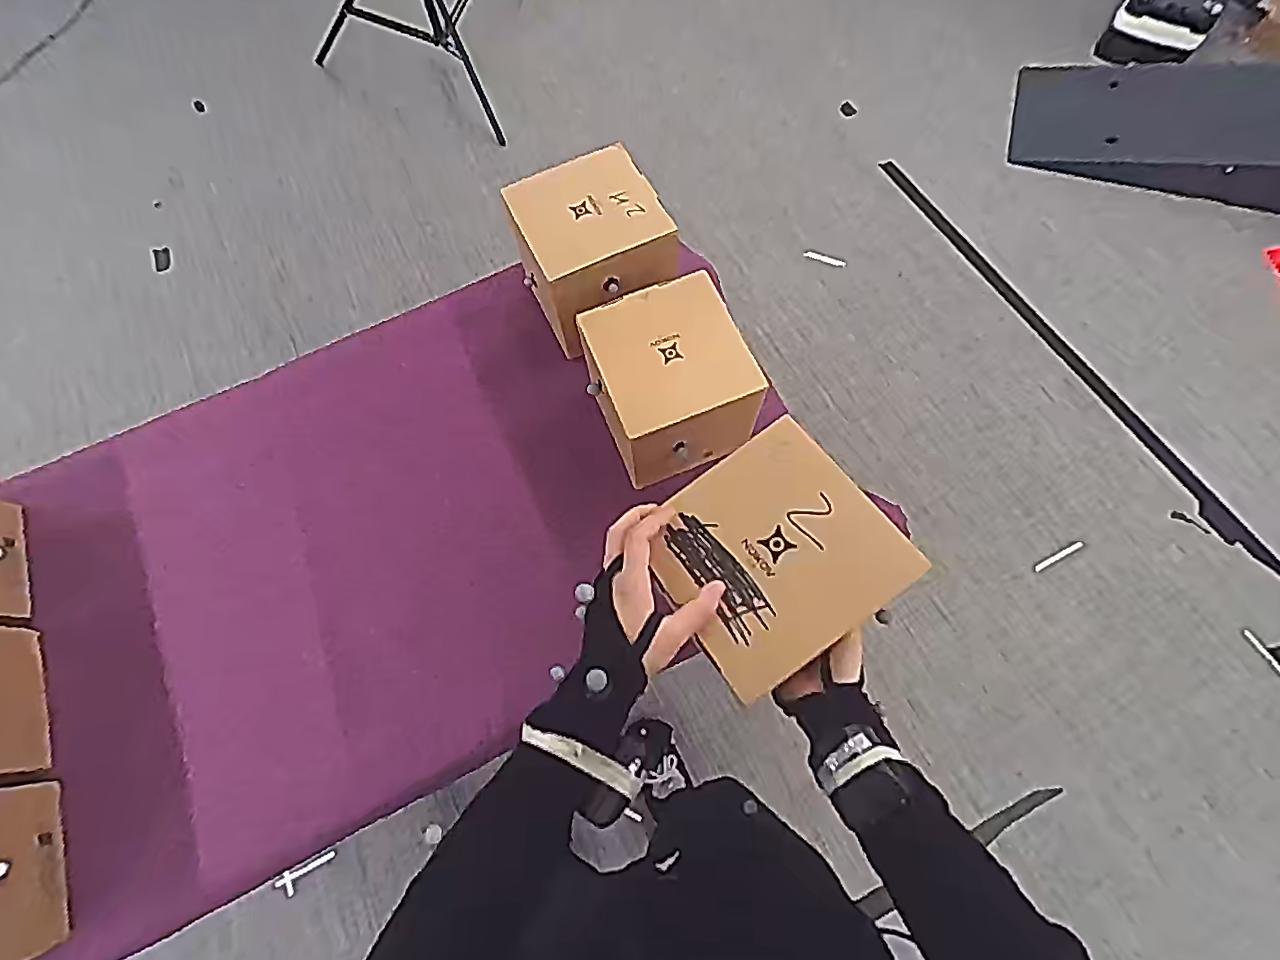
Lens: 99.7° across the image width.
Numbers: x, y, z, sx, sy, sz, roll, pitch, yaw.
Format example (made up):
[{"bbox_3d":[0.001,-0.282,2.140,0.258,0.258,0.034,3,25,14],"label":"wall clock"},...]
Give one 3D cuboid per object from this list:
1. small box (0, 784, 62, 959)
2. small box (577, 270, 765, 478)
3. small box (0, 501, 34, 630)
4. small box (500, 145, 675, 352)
[{"bbox_3d":[-0.705,0.415,0.506,0.179,0.176,0.168,-25,70,-8],"label":"small box"},{"bbox_3d":[0.036,-0.118,0.679,0.168,0.176,0.179,-21,70,-5],"label":"small box"},{"bbox_3d":[-0.877,0.111,0.620,0.179,0.176,0.168,-24,73,-8],"label":"small box"},{"bbox_3d":[-0.064,-0.307,0.744,0.179,0.176,0.168,-25,72,-8],"label":"small box"}]
